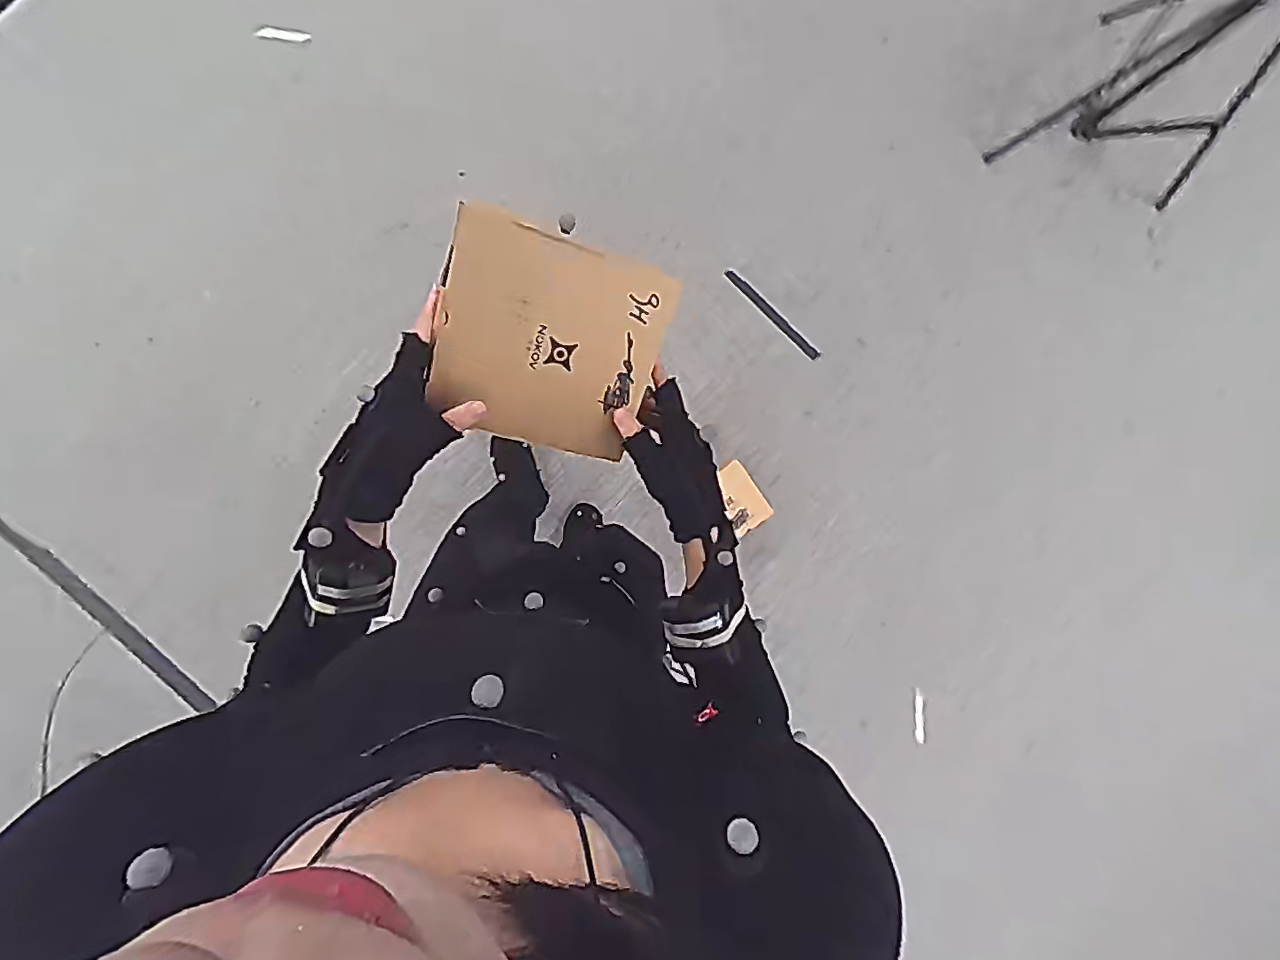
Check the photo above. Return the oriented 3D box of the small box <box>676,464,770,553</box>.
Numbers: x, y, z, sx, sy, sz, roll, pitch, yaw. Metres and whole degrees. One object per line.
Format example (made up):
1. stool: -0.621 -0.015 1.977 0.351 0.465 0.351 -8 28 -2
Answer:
1. small box: 0.217 0.073 1.459 0.168 0.176 0.179 -34 91 -5
